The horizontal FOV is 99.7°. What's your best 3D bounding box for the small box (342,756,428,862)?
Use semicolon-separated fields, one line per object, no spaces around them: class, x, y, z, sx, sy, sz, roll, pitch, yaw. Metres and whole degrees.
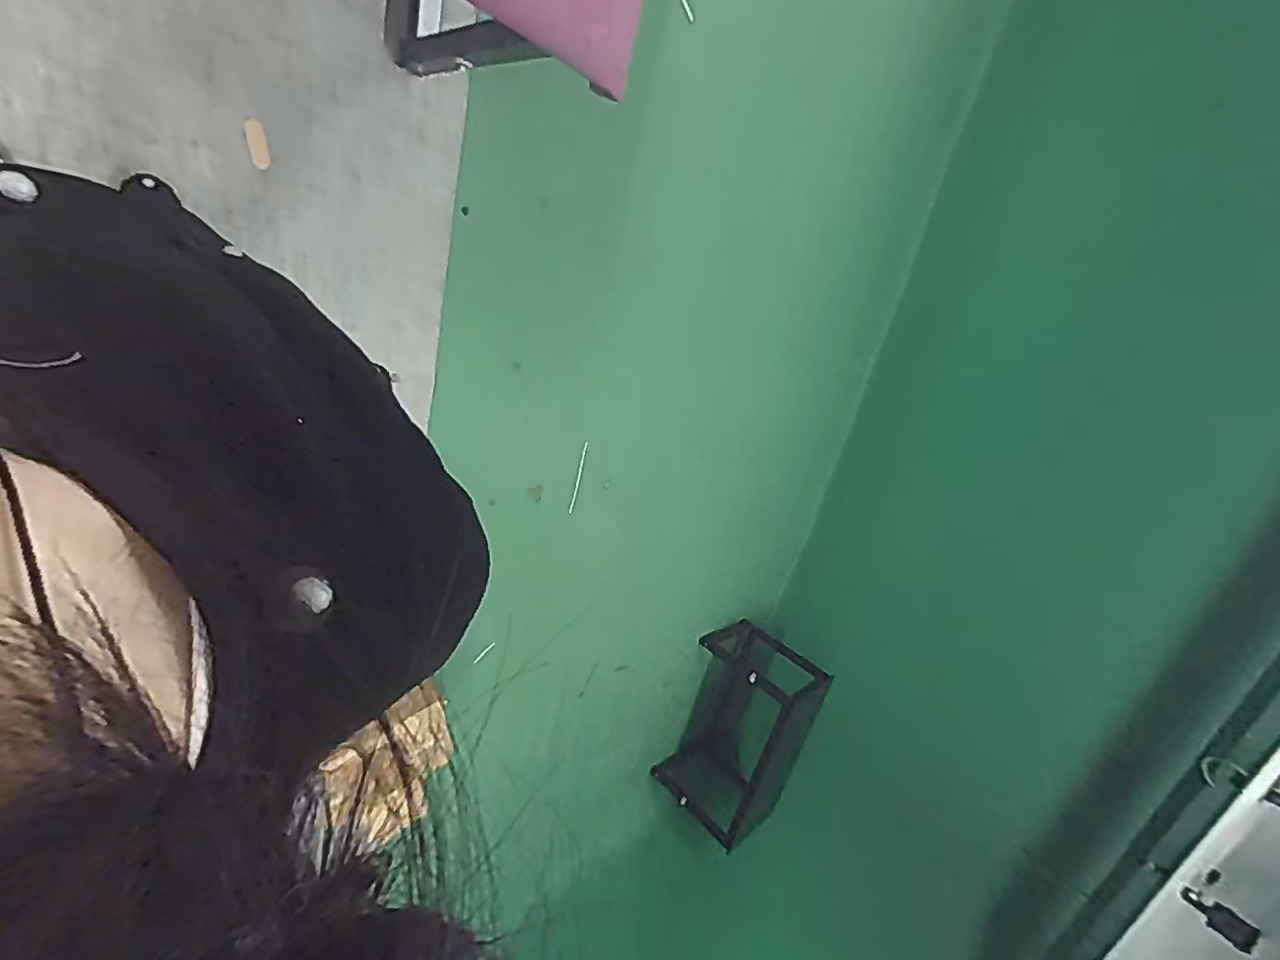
small box;-0.744;0.944;1.575;0.168;0.176;0.179;-22;126;-39

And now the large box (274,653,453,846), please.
large box;-0.885;0.851;1.759;0.408;0.320;0.320;-24;129;-40
